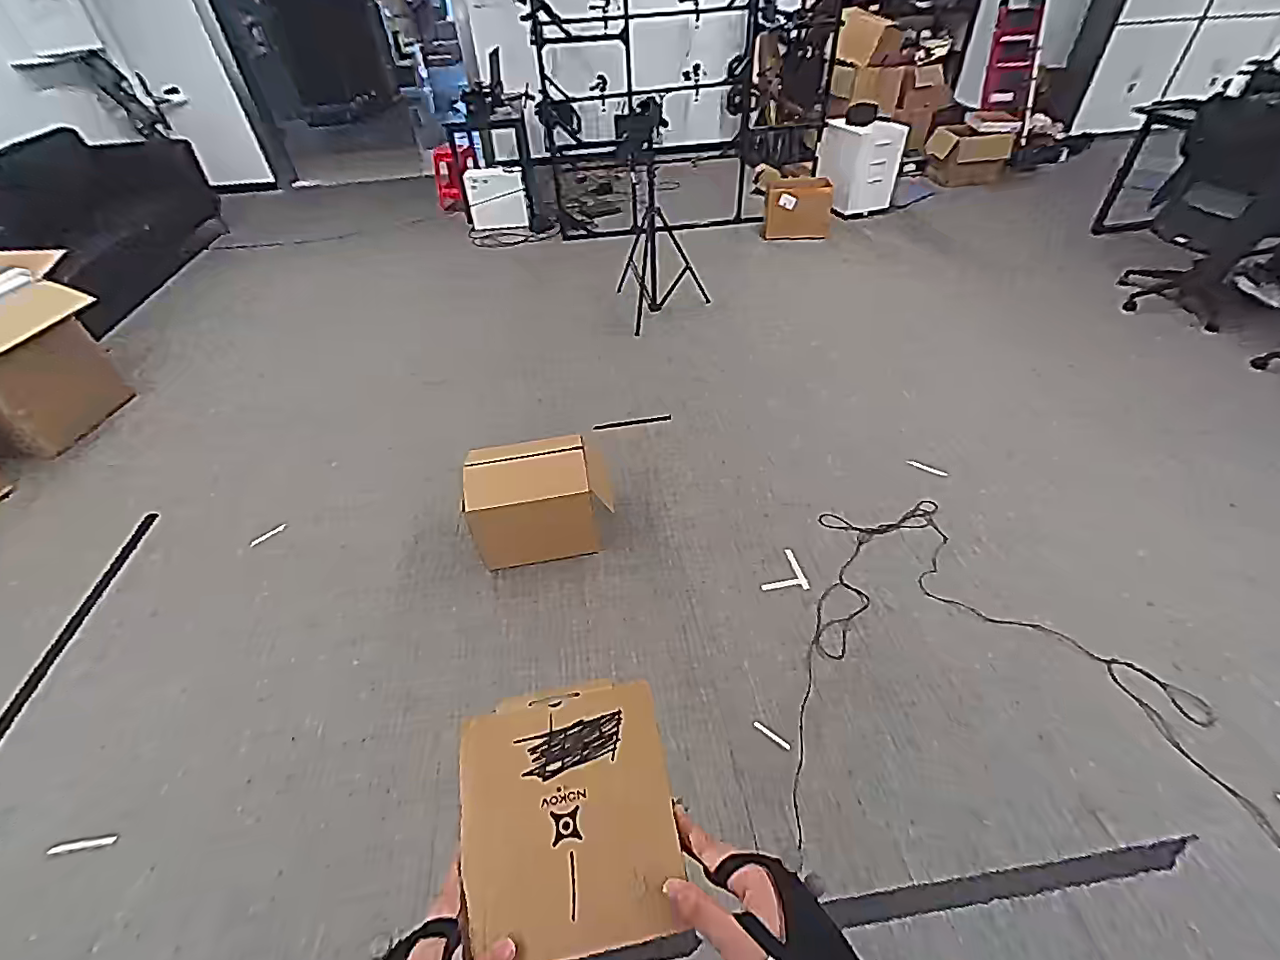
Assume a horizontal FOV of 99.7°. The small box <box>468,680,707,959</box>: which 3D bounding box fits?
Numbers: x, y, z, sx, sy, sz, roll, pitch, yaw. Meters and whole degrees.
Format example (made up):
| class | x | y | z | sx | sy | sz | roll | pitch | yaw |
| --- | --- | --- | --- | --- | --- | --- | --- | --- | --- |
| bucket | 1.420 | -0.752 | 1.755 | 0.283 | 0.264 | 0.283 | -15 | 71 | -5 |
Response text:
| class | x | y | z | sx | sy | sz | roll | pitch | yaw |
| --- | --- | --- | --- | --- | --- | --- | --- | --- | --- |
| small box | -0.045 | 0.302 | 0.477 | 0.168 | 0.176 | 0.179 | -11 | 55 | -4 |
